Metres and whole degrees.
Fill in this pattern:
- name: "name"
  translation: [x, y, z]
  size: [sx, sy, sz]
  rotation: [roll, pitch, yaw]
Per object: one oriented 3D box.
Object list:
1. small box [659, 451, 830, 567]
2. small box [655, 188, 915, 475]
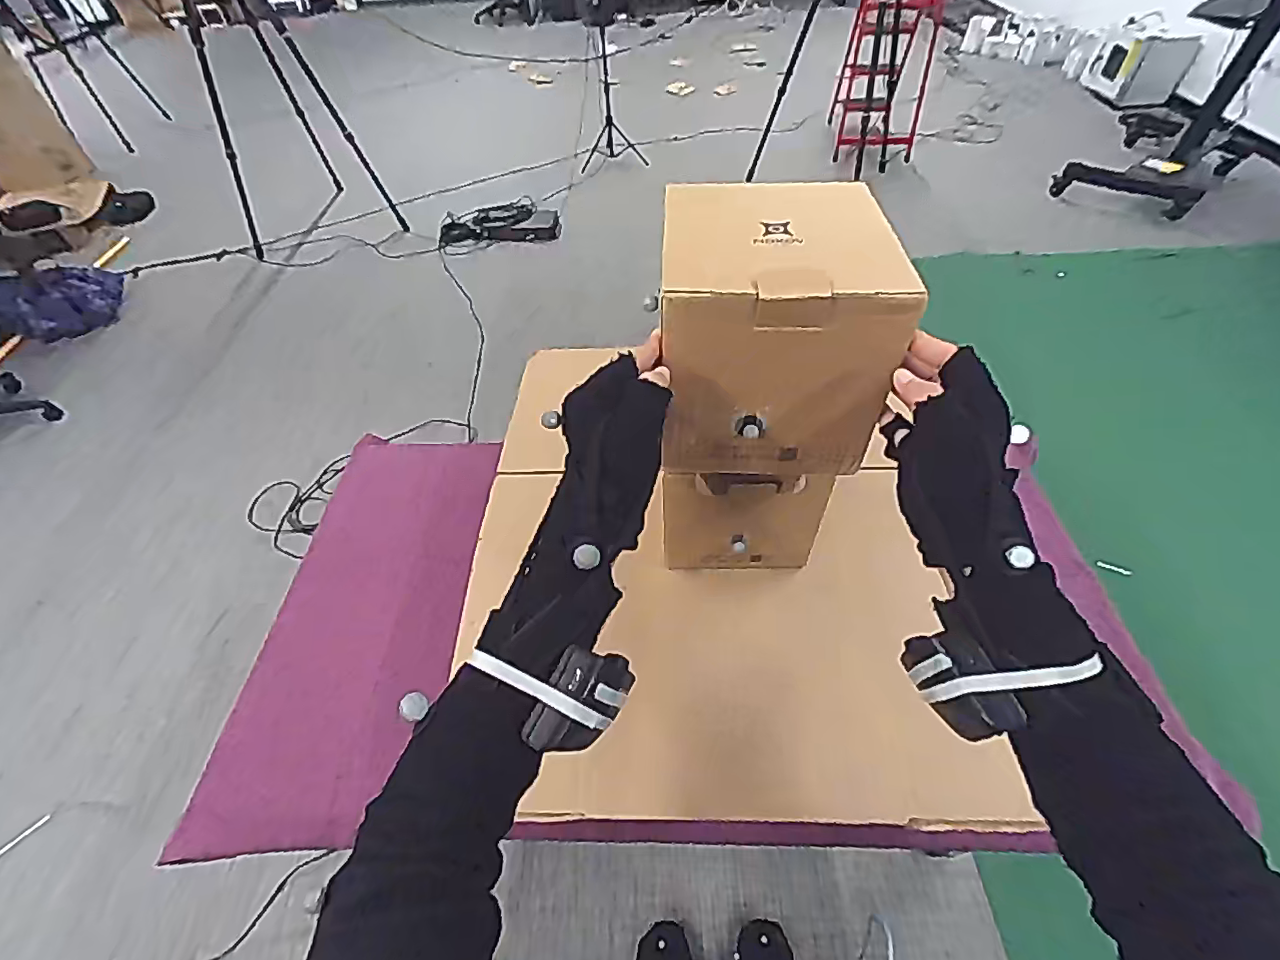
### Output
- name: "small box"
  translation: [0.106, -0.018, 0.631]
  size: [0.168, 0.176, 0.179]
  rotation: [-1, 50, 4]
- name: "small box"
  translation: [0.098, -0.125, 0.459]
  size: [0.168, 0.176, 0.179]
  rotation: [1, 50, 3]
